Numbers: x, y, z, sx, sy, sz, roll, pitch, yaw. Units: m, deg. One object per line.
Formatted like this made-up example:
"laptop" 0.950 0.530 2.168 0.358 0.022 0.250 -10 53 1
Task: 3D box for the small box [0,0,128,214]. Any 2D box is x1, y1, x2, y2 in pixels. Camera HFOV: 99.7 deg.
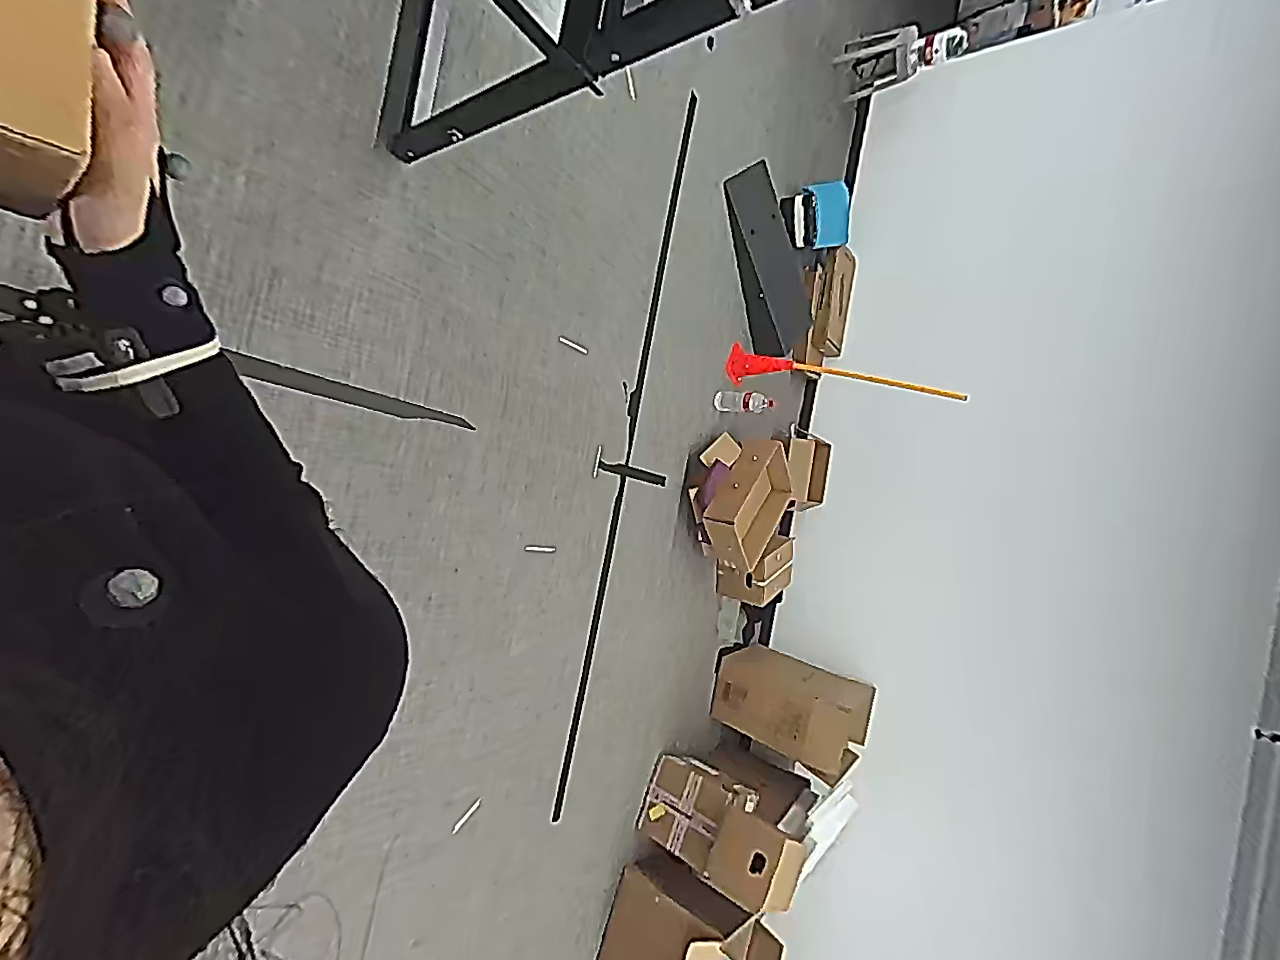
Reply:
"small box" -0.336 -0.237 0.221 0.168 0.176 0.179 2 97 -52
